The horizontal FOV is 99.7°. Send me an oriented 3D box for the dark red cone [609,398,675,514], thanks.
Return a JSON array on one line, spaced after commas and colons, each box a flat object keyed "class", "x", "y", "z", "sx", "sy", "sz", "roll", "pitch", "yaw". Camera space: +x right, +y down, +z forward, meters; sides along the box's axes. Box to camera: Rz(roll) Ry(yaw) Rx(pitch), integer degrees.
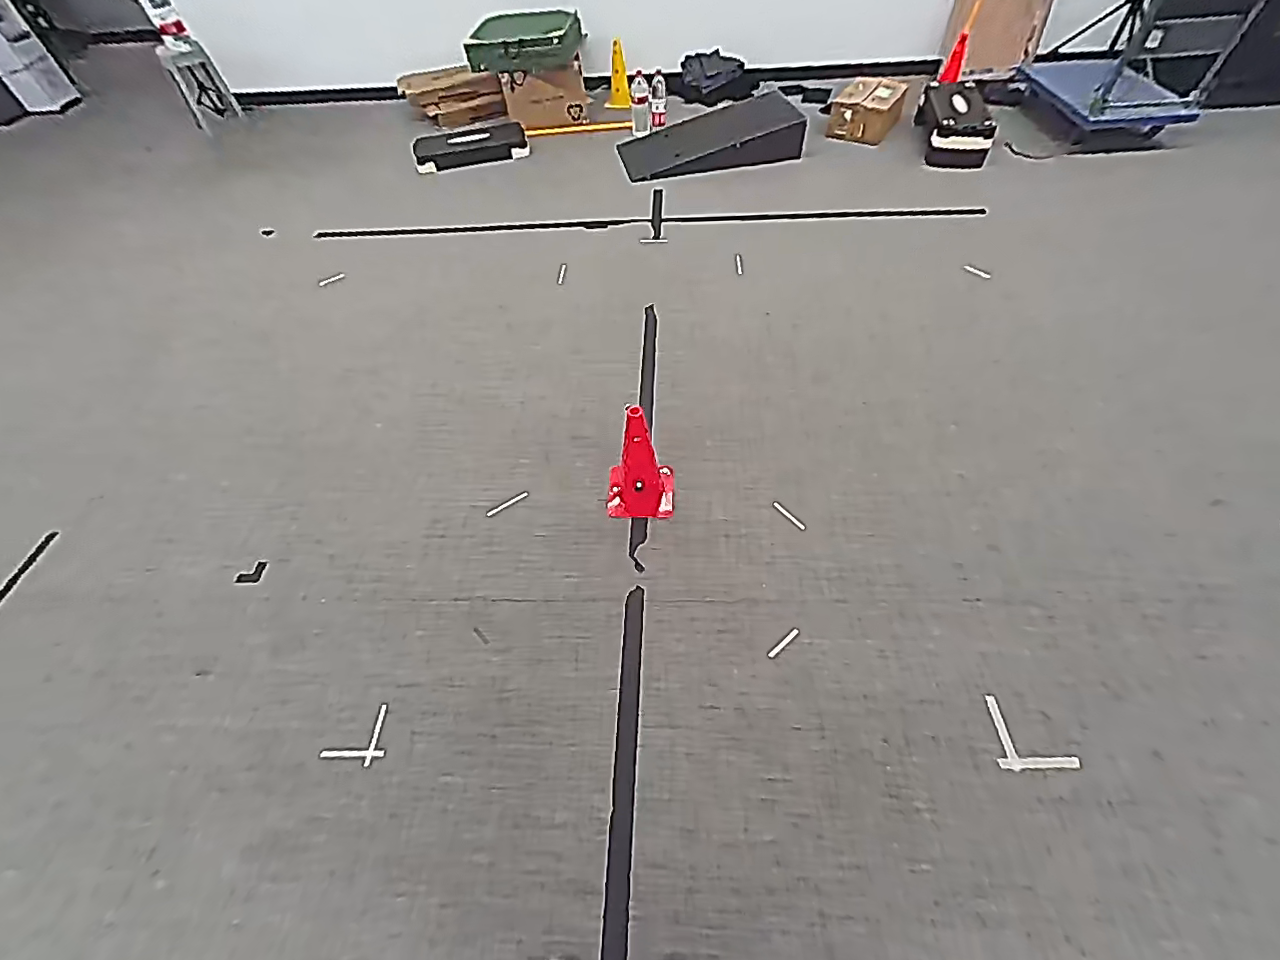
[{"class": "dark red cone", "x": -0.005, "y": -0.081, "z": 1.530, "sx": 0.201, "sy": 0.394, "sz": 0.202, "roll": -1, "pitch": 53, "yaw": 4}]
